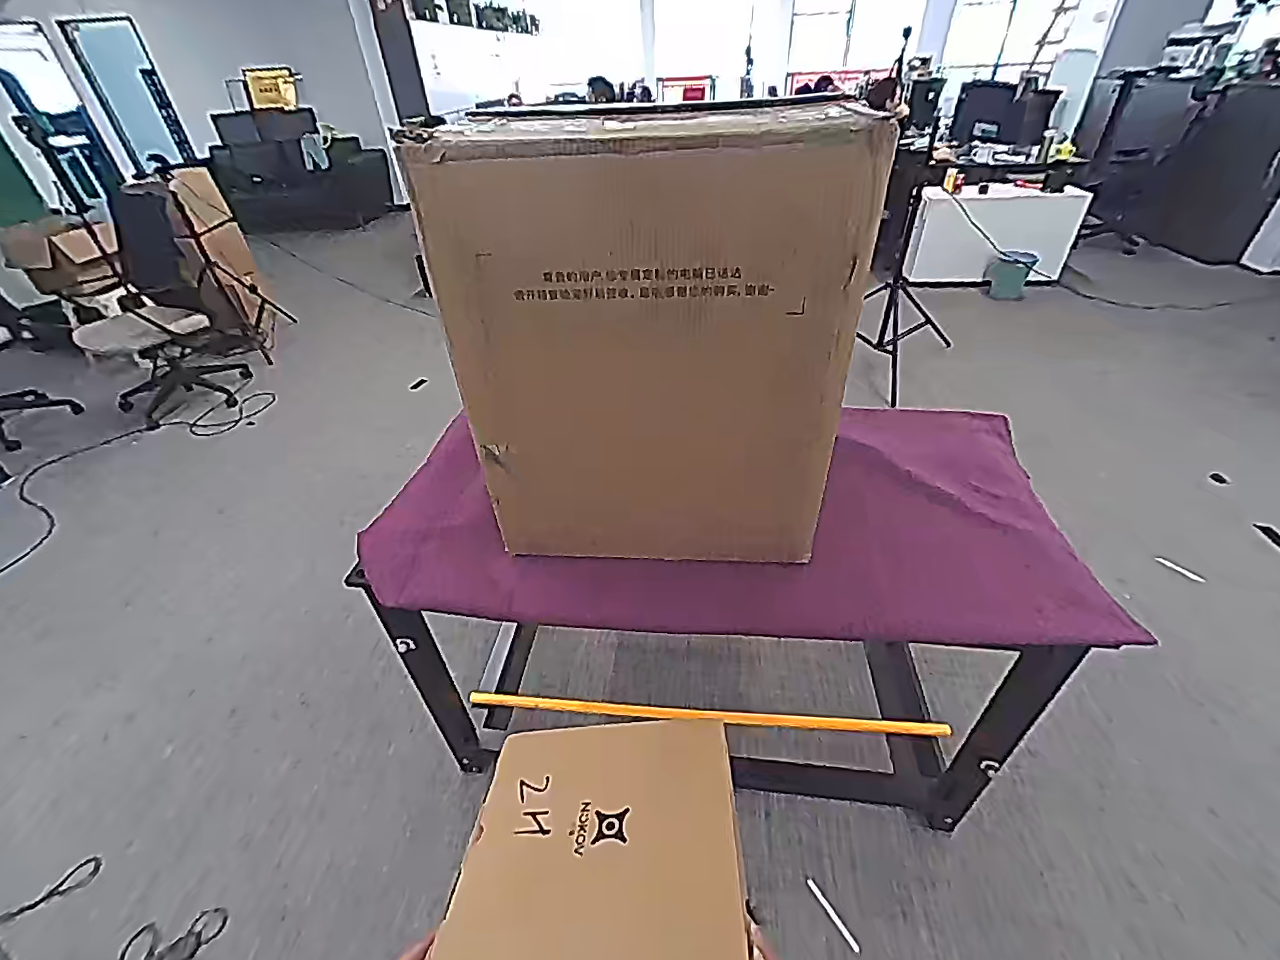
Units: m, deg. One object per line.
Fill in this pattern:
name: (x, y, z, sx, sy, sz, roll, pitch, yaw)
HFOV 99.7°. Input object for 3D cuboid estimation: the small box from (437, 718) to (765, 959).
small box: (-0.008, 0.297, 0.375, 0.179, 0.176, 0.168, -8, 20, 7)
